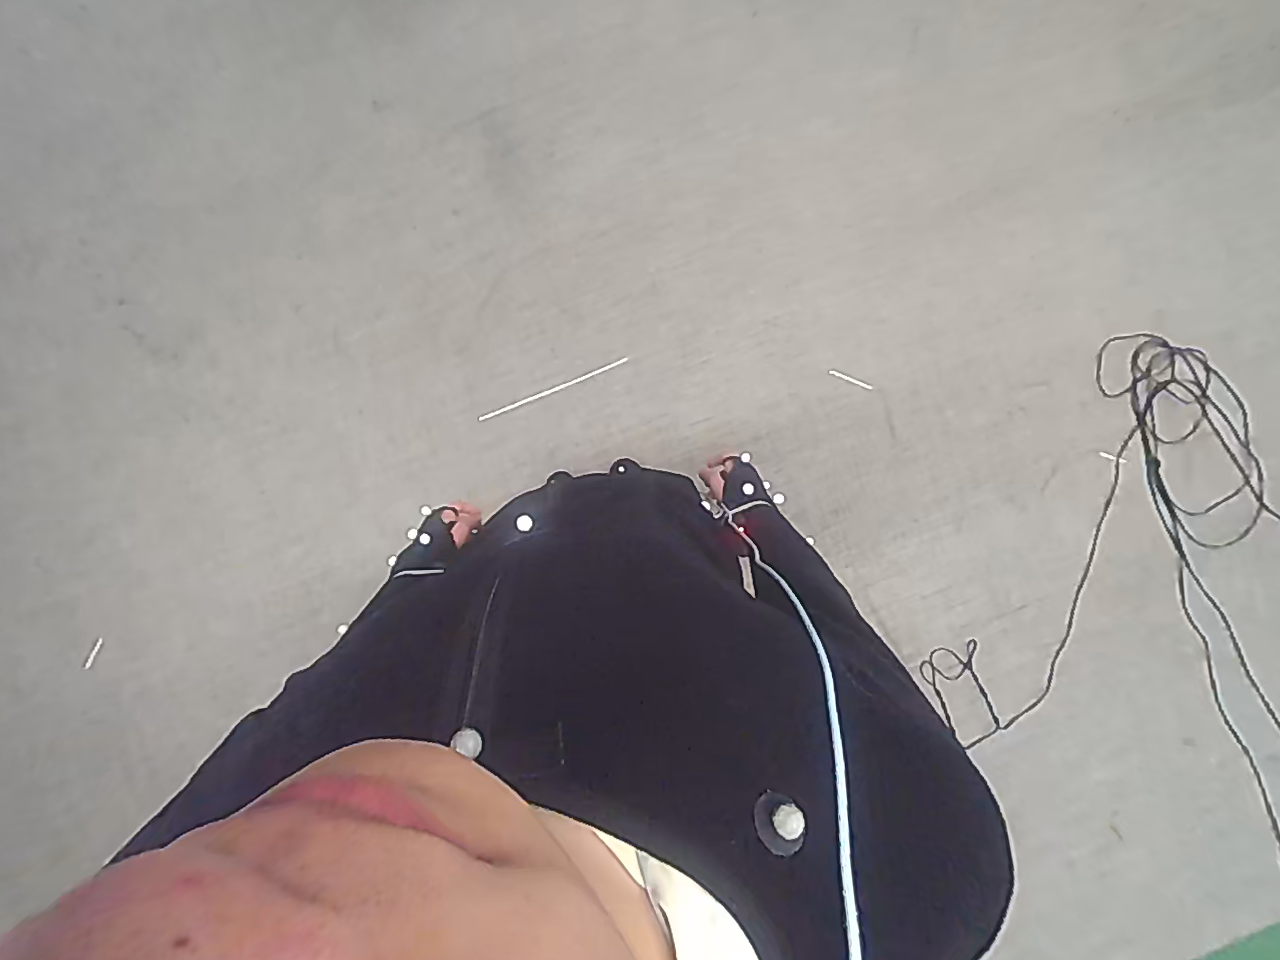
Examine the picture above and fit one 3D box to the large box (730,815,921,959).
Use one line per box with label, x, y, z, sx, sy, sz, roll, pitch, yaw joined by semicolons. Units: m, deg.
large box;0.523;1.271;1.556;0.408;0.320;0.320;-24;92;-1
